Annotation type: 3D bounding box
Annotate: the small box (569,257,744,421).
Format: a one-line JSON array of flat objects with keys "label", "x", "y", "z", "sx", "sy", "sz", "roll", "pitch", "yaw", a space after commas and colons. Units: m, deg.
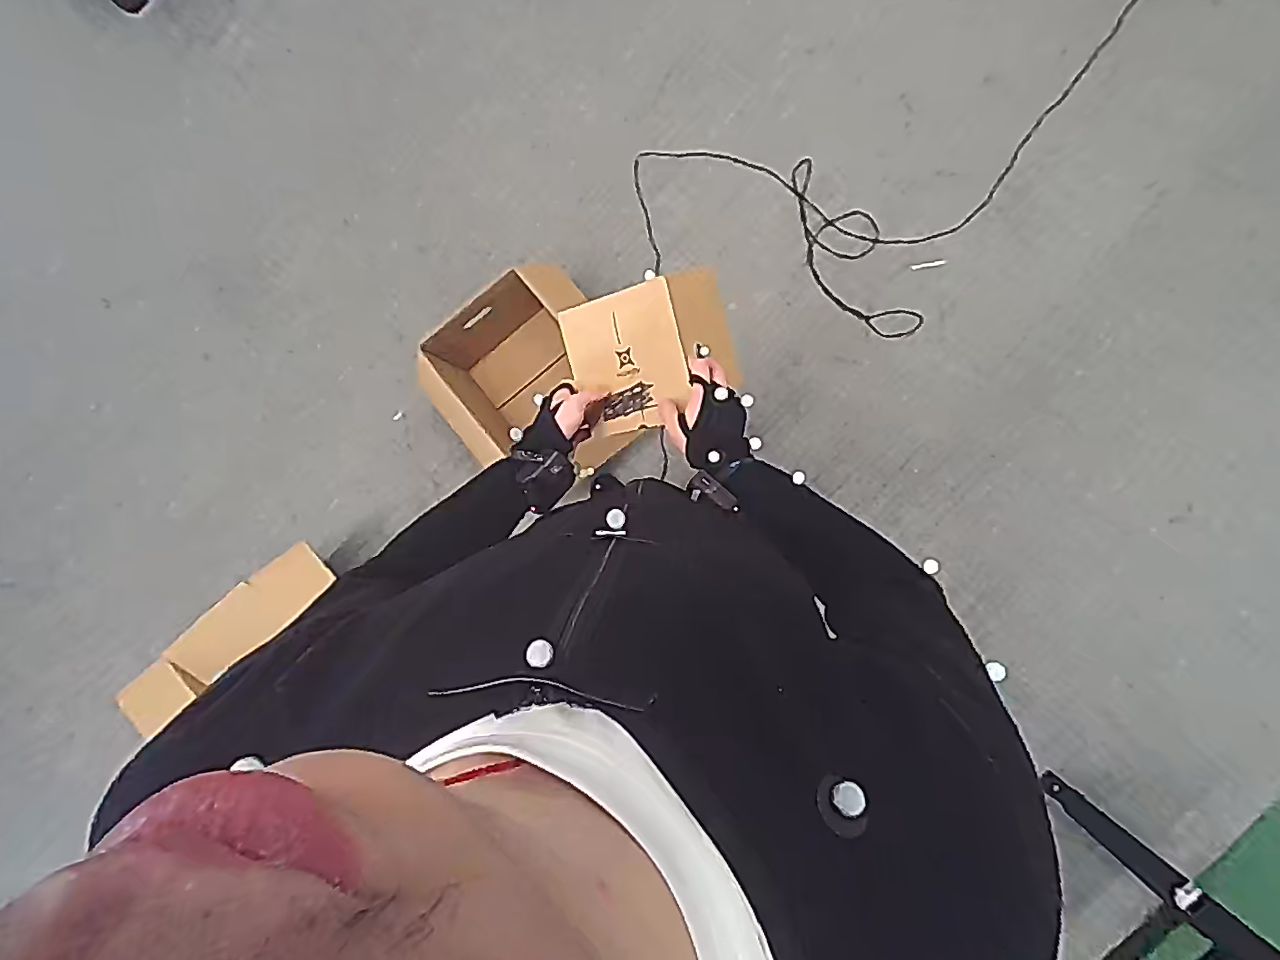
[{"label": "small box", "x": 0.034, "y": -0.198, "z": 0.756, "sx": 0.168, "sy": 0.176, "sz": 0.179, "roll": -5, "pitch": 110, "yaw": 31}]
